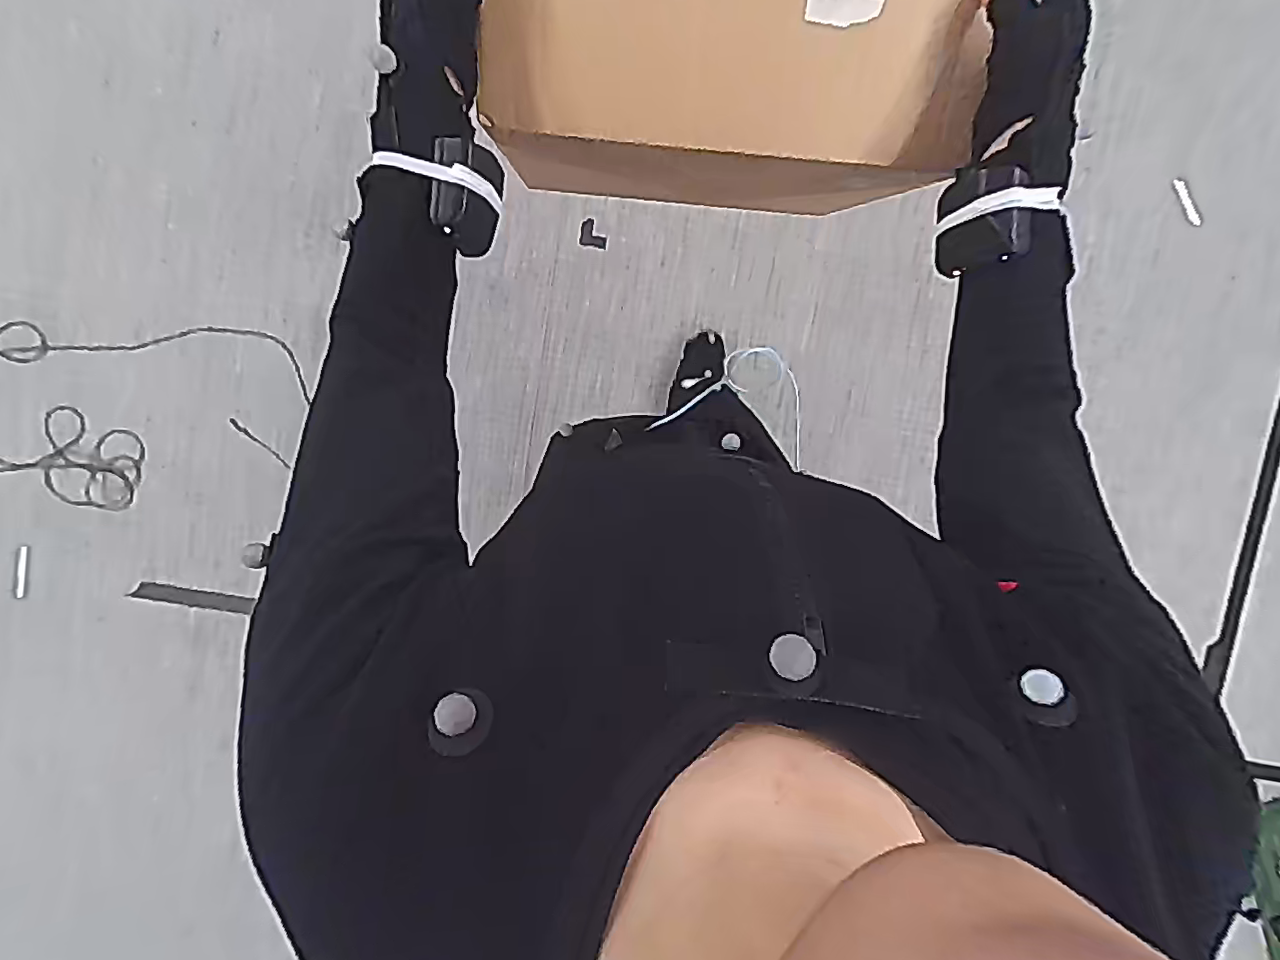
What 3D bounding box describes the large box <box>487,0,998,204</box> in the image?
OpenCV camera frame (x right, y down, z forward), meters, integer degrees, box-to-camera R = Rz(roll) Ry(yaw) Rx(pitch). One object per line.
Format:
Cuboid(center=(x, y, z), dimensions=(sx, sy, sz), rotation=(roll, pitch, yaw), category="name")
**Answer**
Cuboid(center=(0.074, -0.474, 0.530), dimensions=(0.408, 0.320, 0.320), rotation=(2, 111, -6), category="large box")
